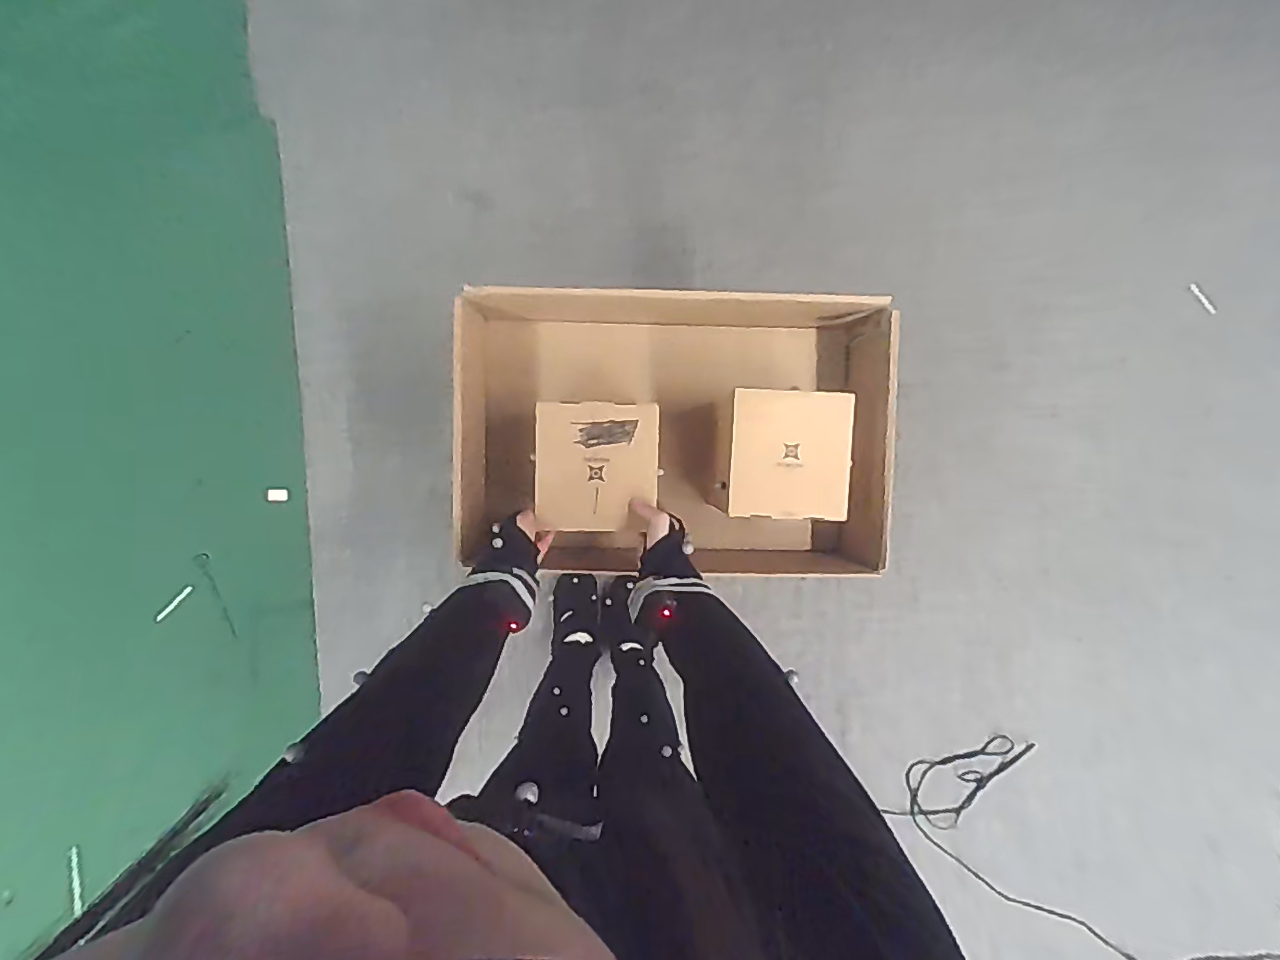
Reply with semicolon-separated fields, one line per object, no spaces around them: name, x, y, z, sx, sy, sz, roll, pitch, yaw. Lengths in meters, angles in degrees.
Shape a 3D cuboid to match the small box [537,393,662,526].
small box;-0.058;-0.031;0.802;0.168;0.176;0.179;1;94;-2
